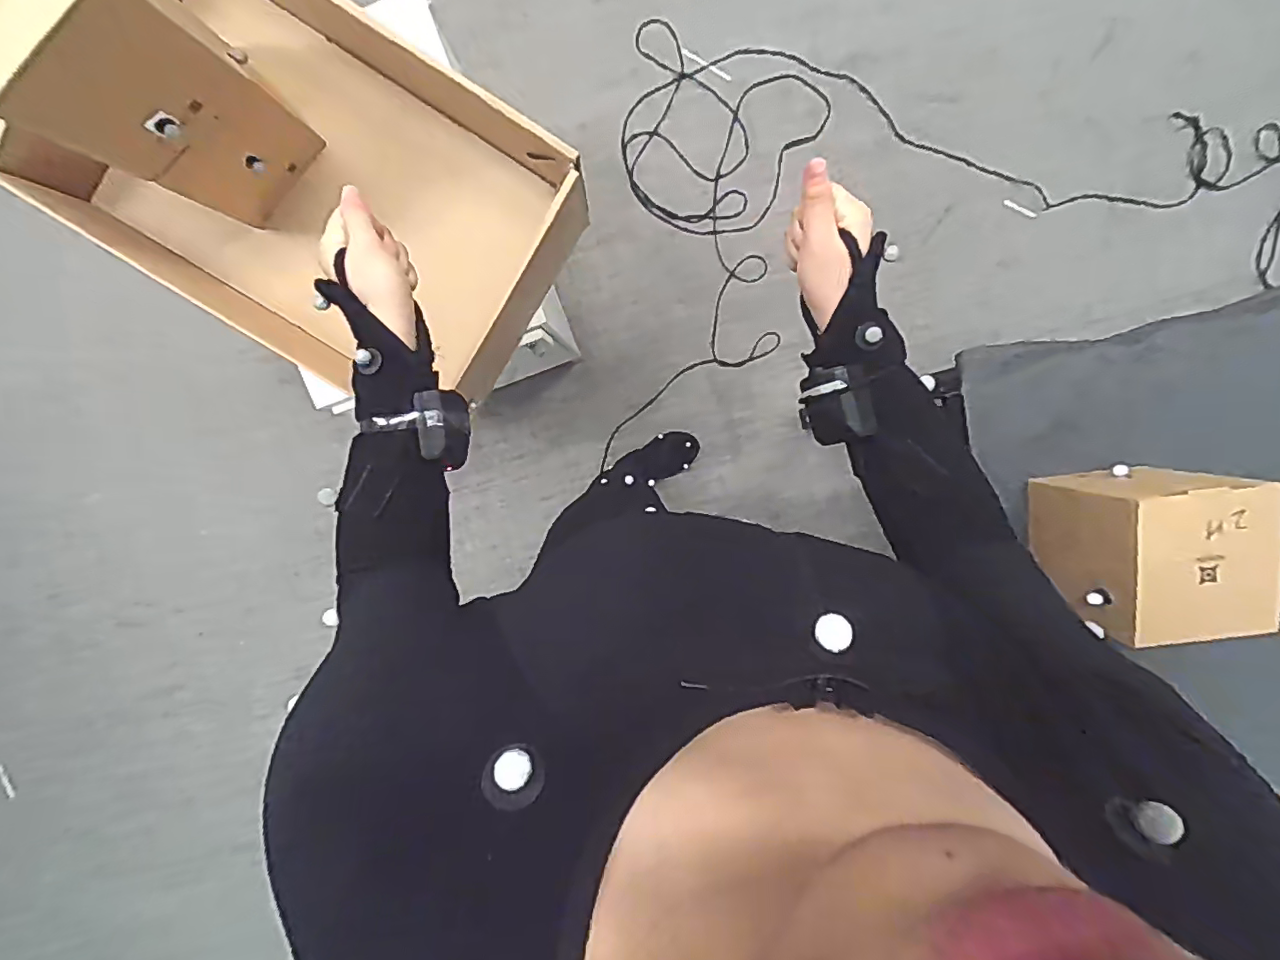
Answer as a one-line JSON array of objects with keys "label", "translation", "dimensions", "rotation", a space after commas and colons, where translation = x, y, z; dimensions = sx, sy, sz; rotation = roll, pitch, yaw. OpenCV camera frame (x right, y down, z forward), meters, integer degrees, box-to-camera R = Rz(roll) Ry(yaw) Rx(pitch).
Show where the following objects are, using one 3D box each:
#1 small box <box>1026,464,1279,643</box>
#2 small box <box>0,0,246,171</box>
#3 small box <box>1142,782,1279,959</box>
[{"label": "small box", "translation": [0.621, 0.081, 0.678], "dimensions": [0.168, 0.176, 0.179], "rotation": [-6, 97, 0]}, {"label": "small box", "translation": [-0.552, -0.449, 0.526], "dimensions": [0.168, 0.176, 0.179], "rotation": [-42, 97, 7]}, {"label": "small box", "translation": [0.689, 0.462, 0.559], "dimensions": [0.168, 0.176, 0.179], "rotation": [18, 95, -4]}]
